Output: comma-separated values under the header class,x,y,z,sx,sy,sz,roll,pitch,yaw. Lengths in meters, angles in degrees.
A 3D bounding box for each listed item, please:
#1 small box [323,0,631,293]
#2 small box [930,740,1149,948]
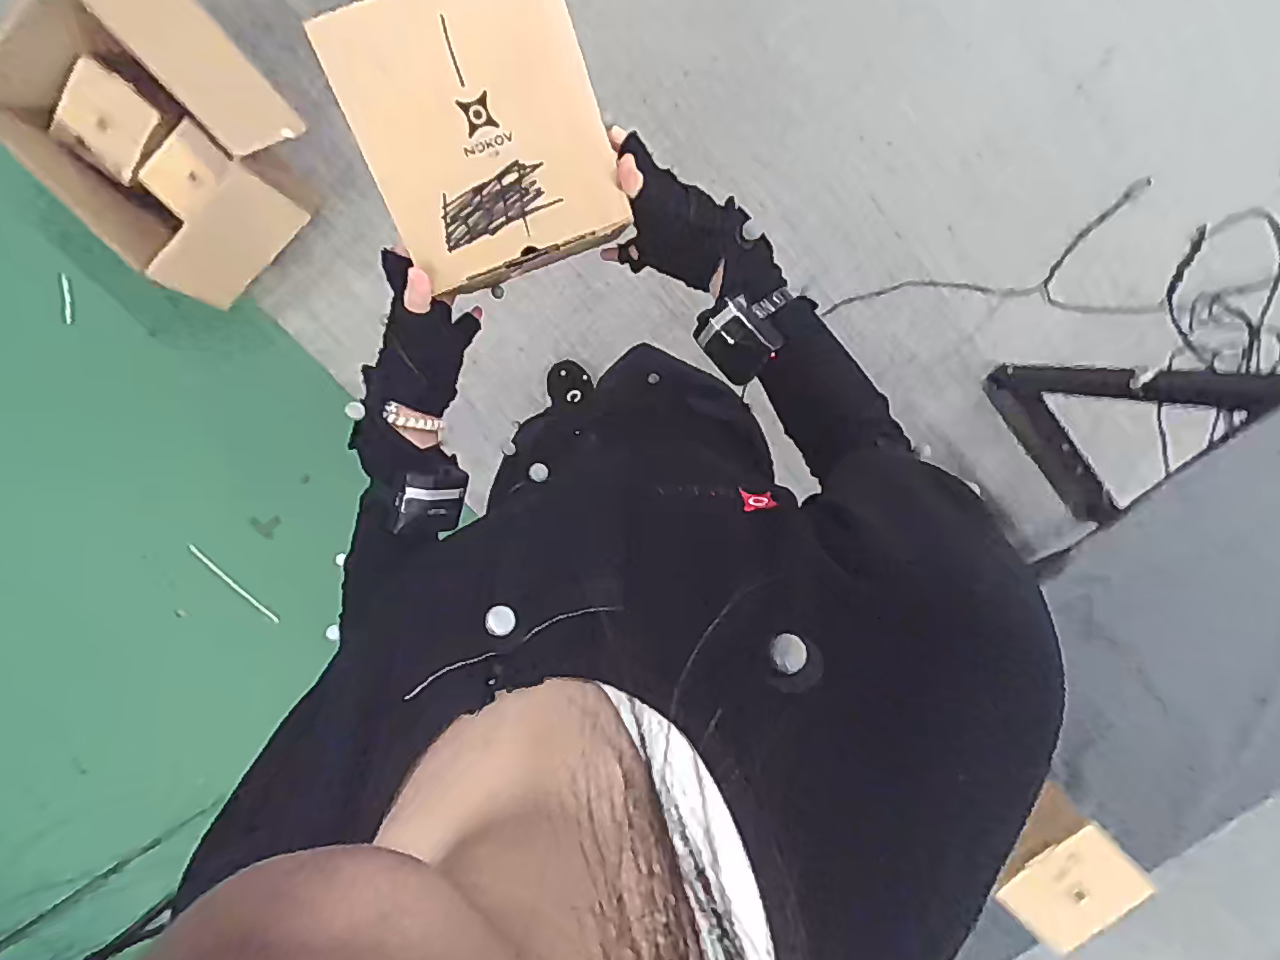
class,x,y,z,sx,sy,sz,roll,pitch,yaw
small box,-0.115,-0.271,0.457,0.168,0.176,0.179,-19,110,0
small box,0.599,0.547,0.834,0.168,0.176,0.179,-44,101,7
